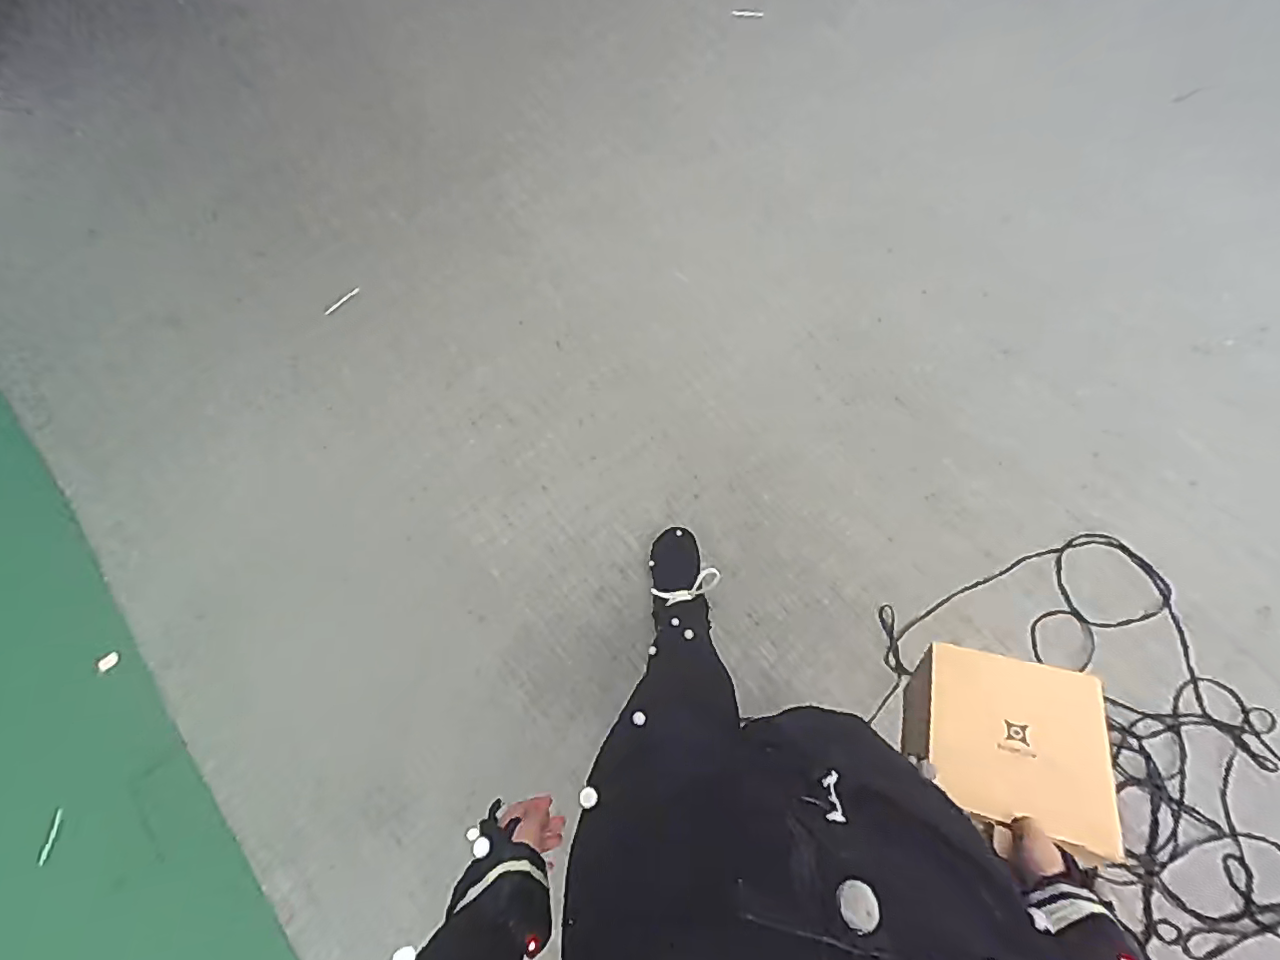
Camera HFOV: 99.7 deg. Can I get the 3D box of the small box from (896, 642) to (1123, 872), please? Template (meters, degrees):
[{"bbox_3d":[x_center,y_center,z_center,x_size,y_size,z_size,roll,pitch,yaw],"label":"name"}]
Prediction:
[{"bbox_3d":[0.404,0.319,0.624,0.168,0.176,0.179,10,56,19],"label":"small box"}]
